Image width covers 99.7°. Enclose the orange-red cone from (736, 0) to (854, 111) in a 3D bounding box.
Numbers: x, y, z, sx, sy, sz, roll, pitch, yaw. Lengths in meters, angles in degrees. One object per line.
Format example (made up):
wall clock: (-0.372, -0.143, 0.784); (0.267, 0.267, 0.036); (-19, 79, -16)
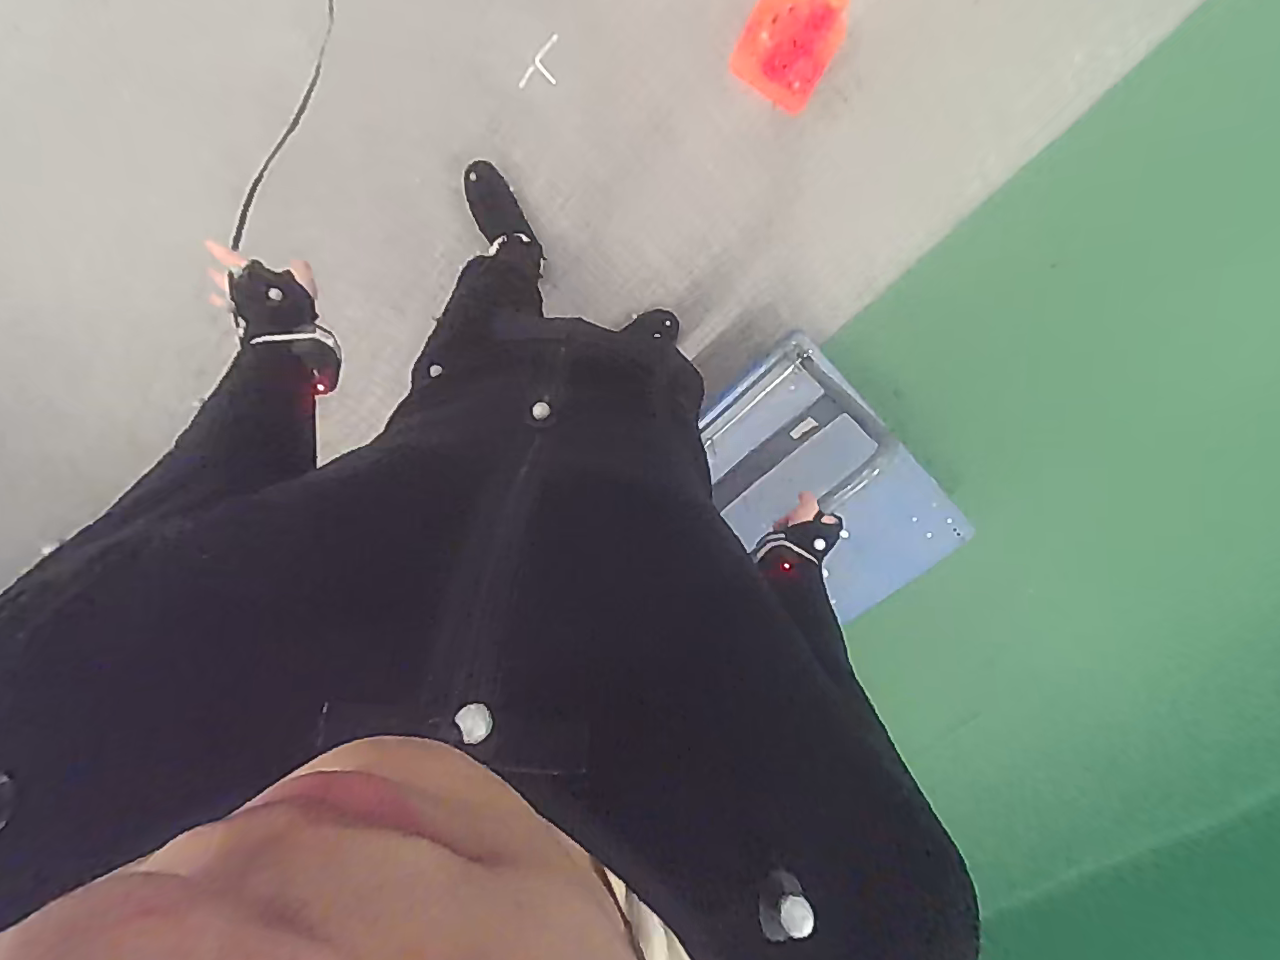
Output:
orange-red cone: (0.343, -0.899, 1.059); (0.198, 0.360, 0.199); (26, 113, -14)
